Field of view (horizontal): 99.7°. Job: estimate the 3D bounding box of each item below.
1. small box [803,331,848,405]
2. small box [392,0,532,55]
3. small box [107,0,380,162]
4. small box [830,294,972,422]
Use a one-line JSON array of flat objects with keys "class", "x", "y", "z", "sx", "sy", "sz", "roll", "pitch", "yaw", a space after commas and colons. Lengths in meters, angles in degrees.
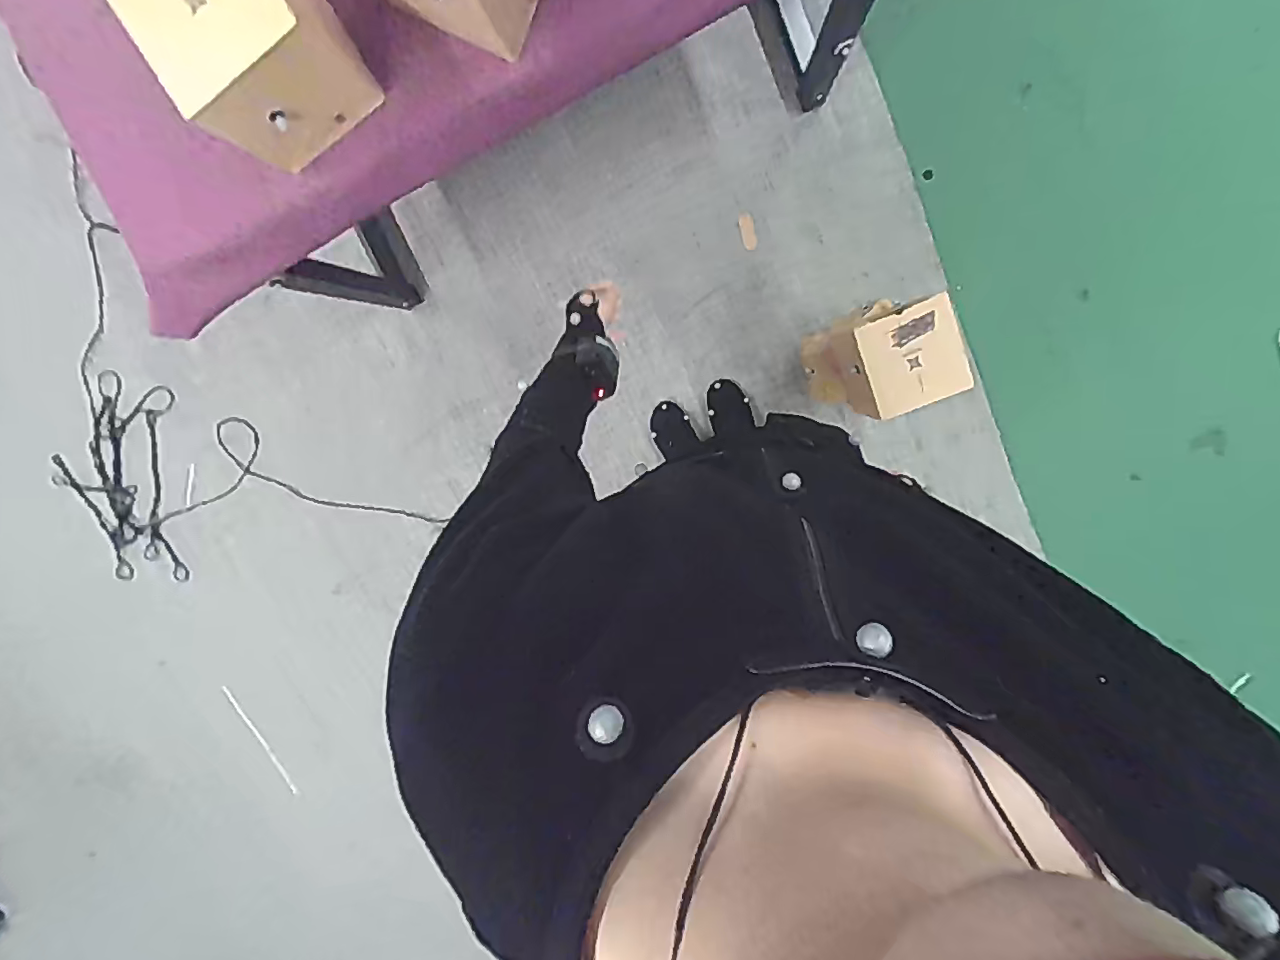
[{"class": "small box", "x": 0.511, "y": -0.286, "z": 1.335, "sx": 0.179, "sy": 0.176, "sz": 0.168, "roll": -12, "pitch": 101, "yaw": 8}, {"class": "small box", "x": -0.207, "y": -0.614, "z": 0.586, "sx": 0.179, "sy": 0.176, "sz": 0.168, "roll": 26, "pitch": 102, "yaw": 0}, {"class": "small box", "x": -0.450, "y": -0.509, "z": 0.633, "sx": 0.168, "sy": 0.176, "sz": 0.179, "roll": -30, "pitch": 96, "yaw": 11}, {"class": "small box", "x": 0.477, "y": -0.224, "z": 1.014, "sx": 0.168, "sy": 0.176, "sz": 0.179, "roll": -21, "pitch": 100, "yaw": 9}]
